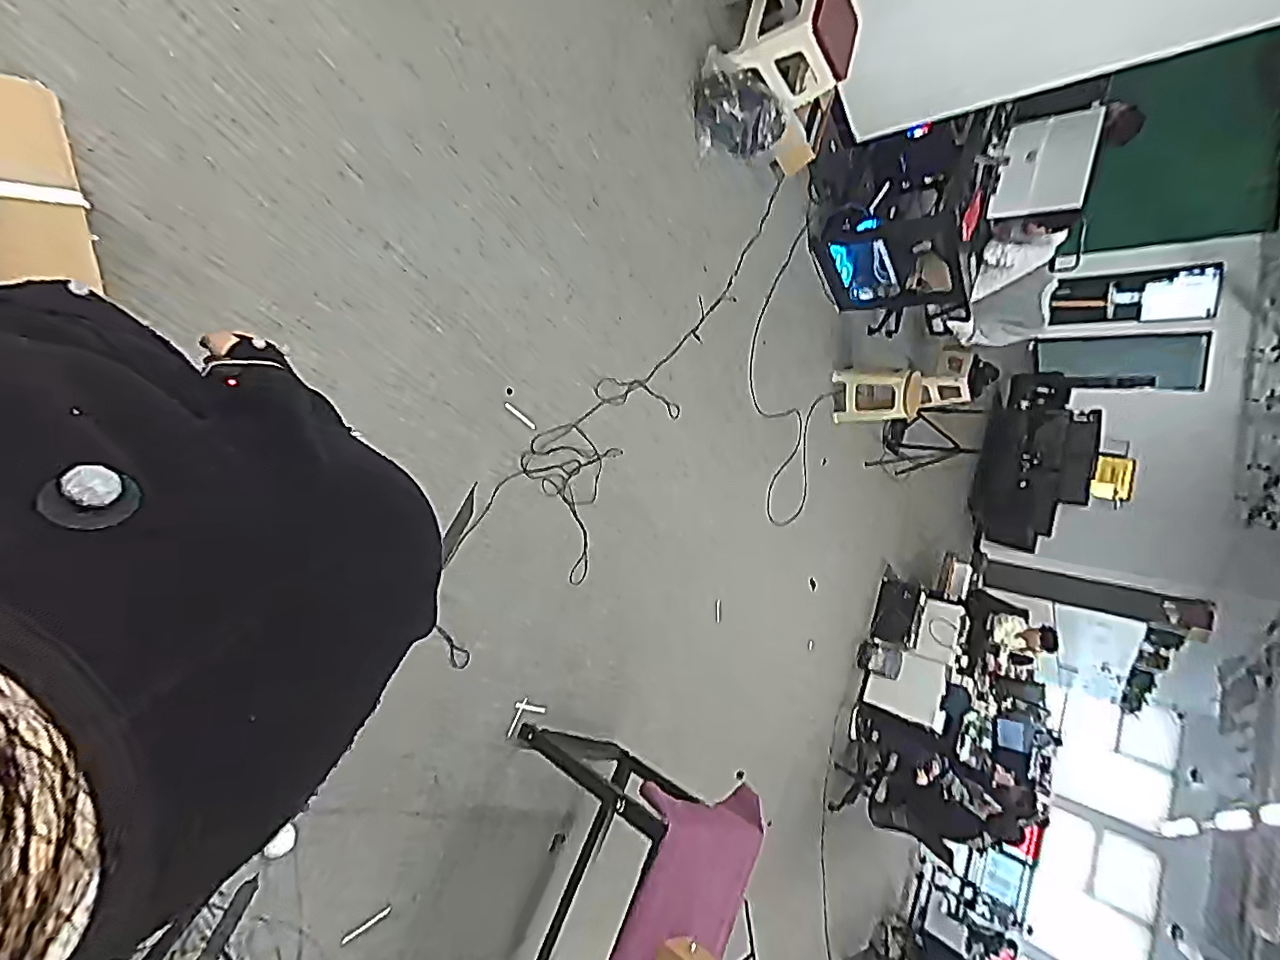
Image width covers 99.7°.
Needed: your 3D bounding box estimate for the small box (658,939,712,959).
[{"bbox_3d":[0.131,1.404,1.472,0.168,0.176,0.179,45,64,-43],"label":"small box"}]
